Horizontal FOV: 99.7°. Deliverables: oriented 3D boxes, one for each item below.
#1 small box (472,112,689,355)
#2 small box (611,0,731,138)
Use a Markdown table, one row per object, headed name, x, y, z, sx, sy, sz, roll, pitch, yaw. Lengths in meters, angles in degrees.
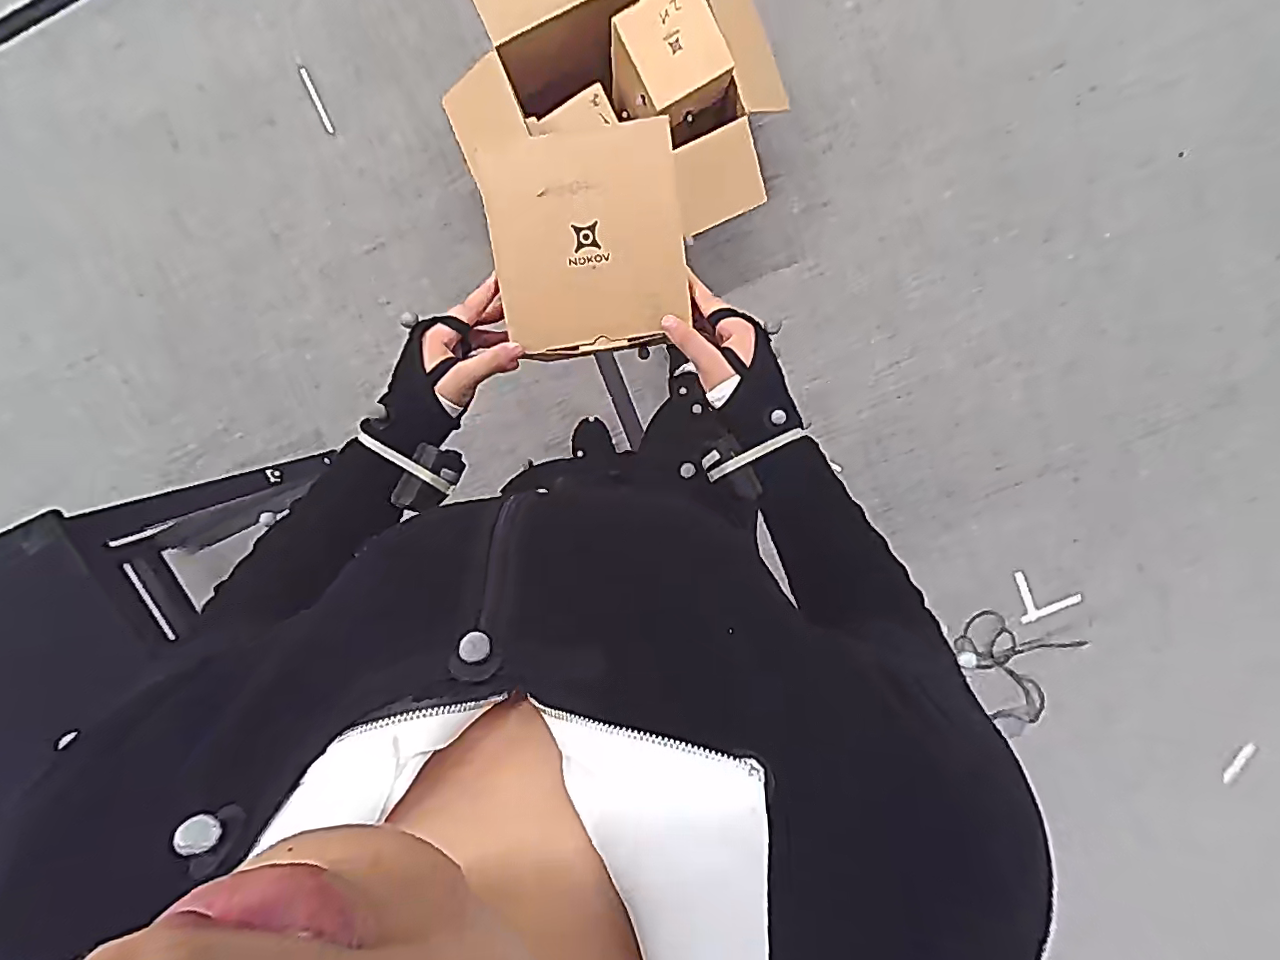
| name | x | y | z | sx | sy | sz | roll | pitch | yaw |
| --- | --- | --- | --- | --- | --- | --- | --- | --- | --- |
| small box | -0.048 | -0.223 | 0.541 | 0.168 | 0.176 | 0.179 | -9 | 101 | 1 |
| small box | 0.056 | -0.799 | 1.055 | 0.168 | 0.176 | 0.179 | -29 | 100 | 2 |
